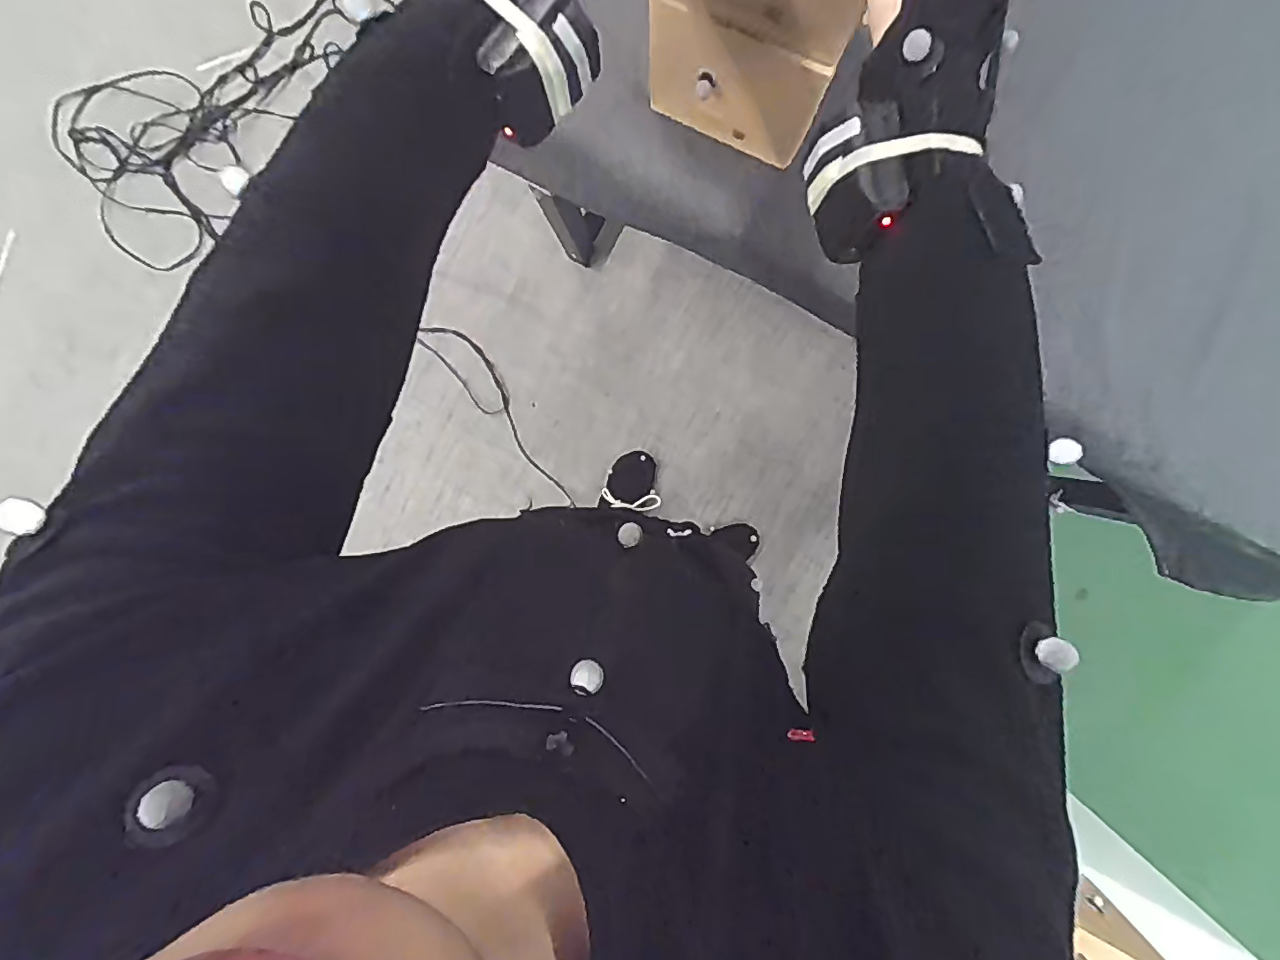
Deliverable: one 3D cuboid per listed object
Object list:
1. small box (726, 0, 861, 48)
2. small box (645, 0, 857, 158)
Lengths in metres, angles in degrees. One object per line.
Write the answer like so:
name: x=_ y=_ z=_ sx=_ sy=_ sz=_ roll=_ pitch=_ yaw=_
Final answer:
small box: x=0.113 y=-0.440 z=0.346 sx=0.168 sy=0.176 sz=0.179 roll=22 pitch=94 yaw=-3
small box: x=0.116 y=-0.449 z=0.509 sx=0.168 sy=0.176 sz=0.179 roll=24 pitch=95 yaw=-2
